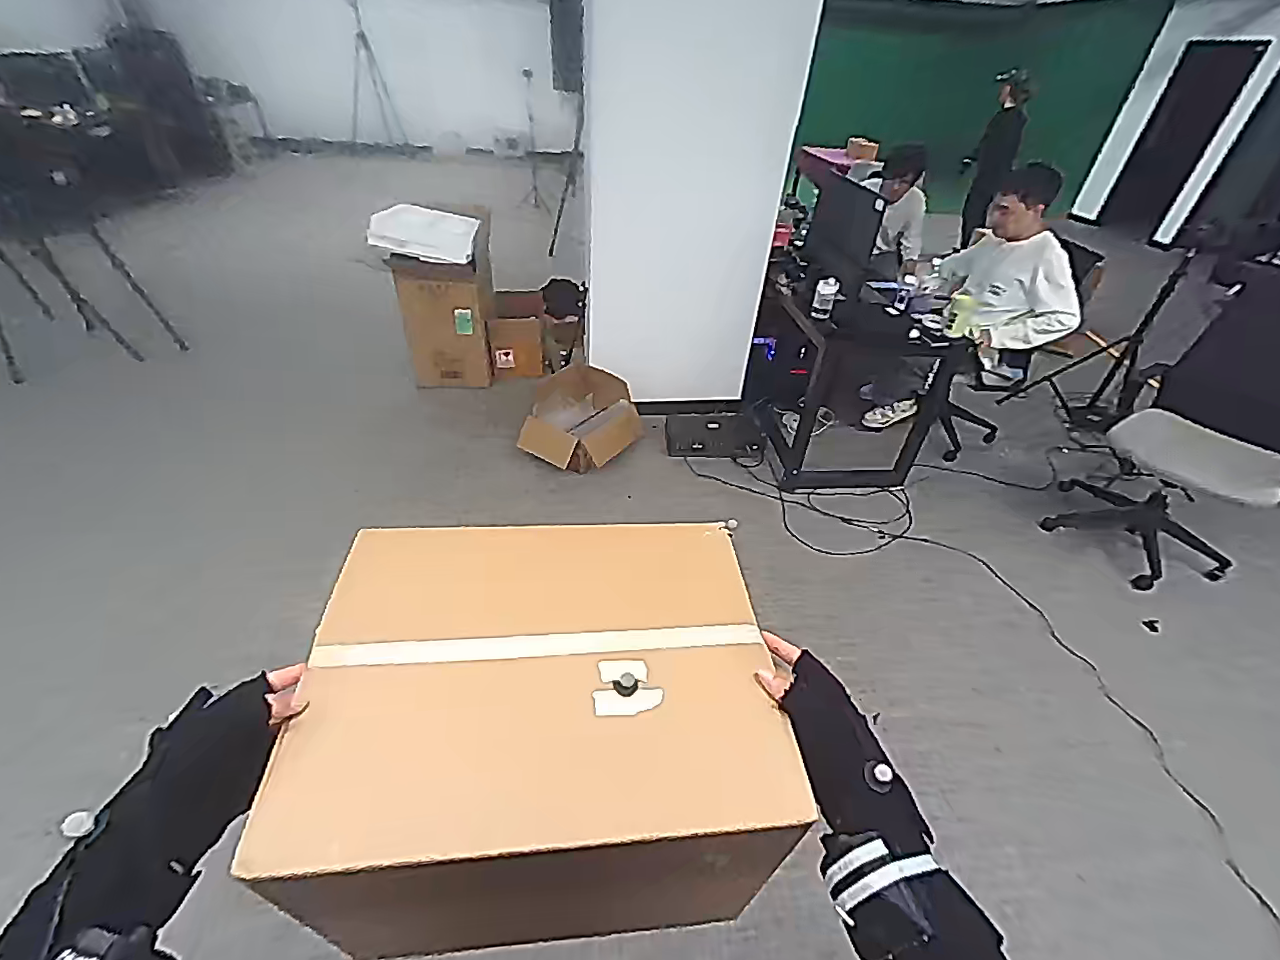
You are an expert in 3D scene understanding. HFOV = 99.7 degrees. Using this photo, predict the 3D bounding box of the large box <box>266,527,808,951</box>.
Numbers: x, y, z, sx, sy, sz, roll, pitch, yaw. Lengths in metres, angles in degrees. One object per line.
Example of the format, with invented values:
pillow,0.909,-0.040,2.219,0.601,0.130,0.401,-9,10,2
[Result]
large box,-0.094,0.270,0.602,0.408,0.320,0.320,0,41,-8
